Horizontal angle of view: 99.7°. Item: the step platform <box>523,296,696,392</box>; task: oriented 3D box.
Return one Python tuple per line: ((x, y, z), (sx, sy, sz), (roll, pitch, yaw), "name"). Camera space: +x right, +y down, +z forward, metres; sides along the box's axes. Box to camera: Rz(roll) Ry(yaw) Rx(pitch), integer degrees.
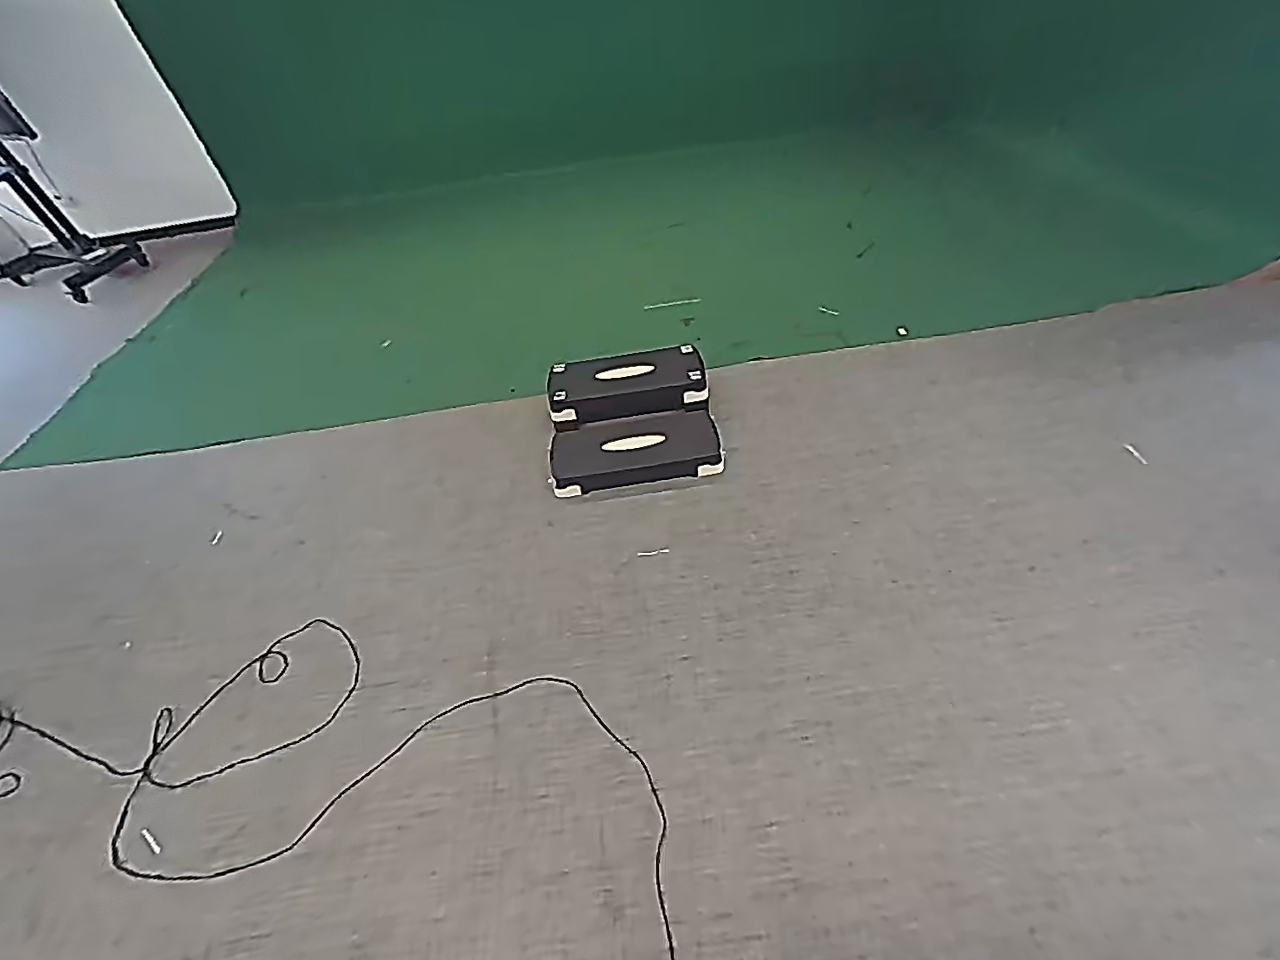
((-0.116, -0.554, 2.204), (0.684, 0.204, 0.286), (-9, 47, 1), "step platform")
